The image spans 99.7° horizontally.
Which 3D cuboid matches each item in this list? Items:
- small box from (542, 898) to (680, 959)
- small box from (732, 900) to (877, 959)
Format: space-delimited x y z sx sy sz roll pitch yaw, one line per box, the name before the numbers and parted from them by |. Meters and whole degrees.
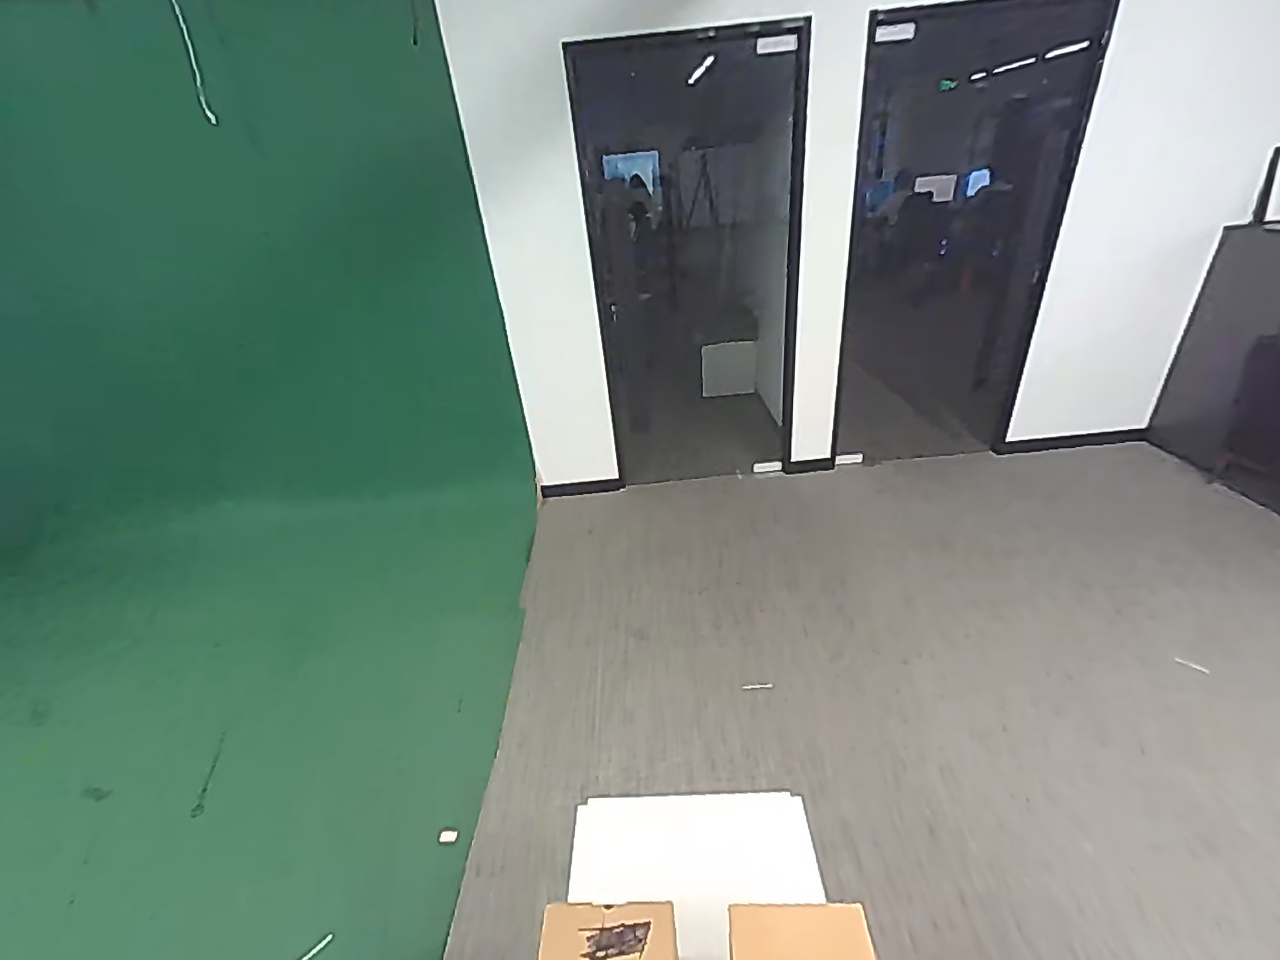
small box | -0.032 0.653 0.662 0.168 0.176 0.179 -4 30 3
small box | 0.198 0.640 0.642 0.168 0.176 0.179 -4 30 6
